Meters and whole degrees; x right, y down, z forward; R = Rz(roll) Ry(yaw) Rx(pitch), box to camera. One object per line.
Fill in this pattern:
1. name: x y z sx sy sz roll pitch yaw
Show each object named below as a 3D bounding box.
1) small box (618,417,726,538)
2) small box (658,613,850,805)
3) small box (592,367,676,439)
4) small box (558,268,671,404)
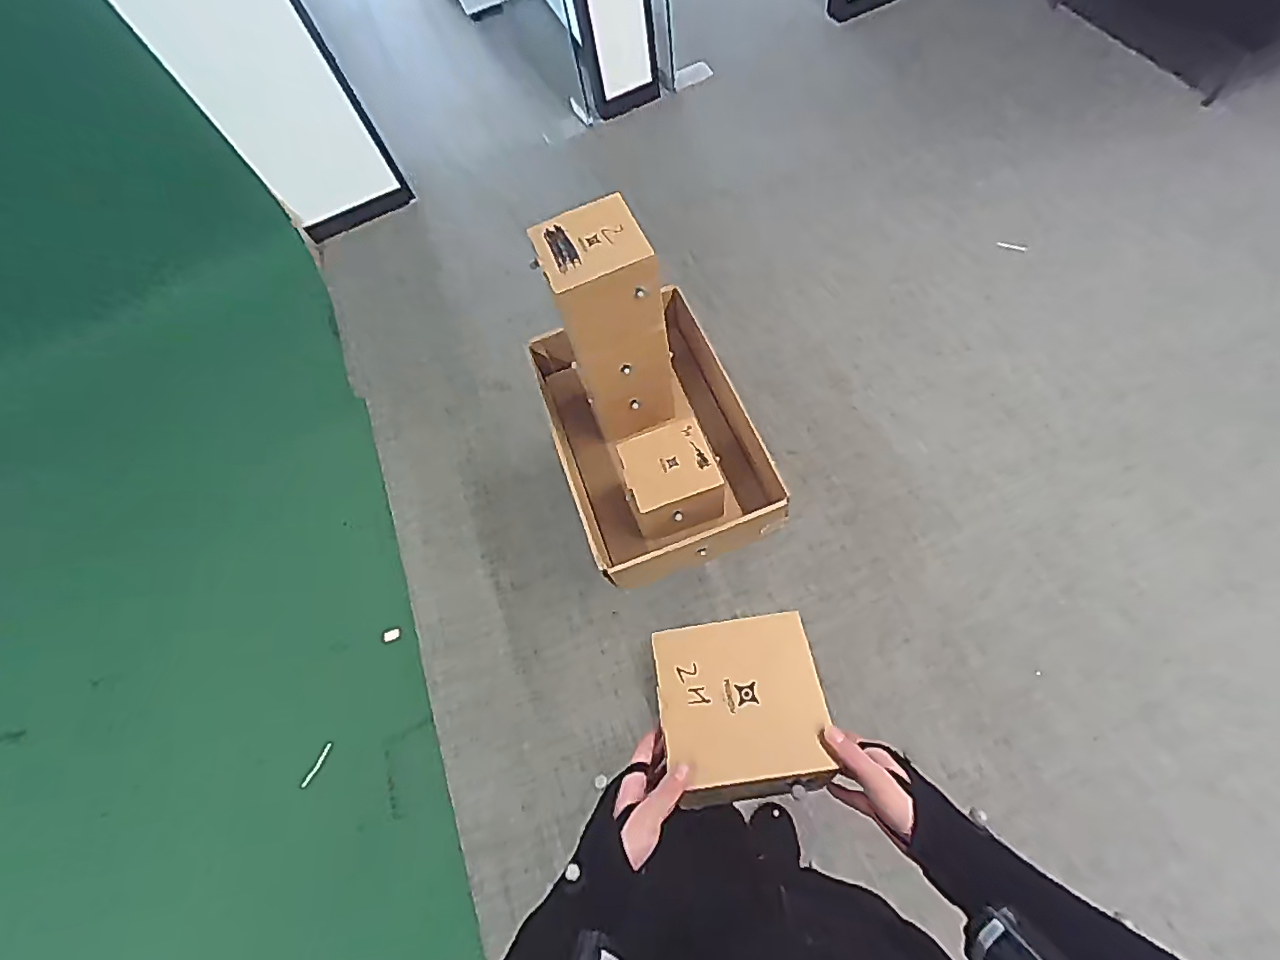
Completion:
1. small box: 0.072 0.003 1.130 0.179 0.176 0.168 -20 64 0
2. small box: 0.122 0.275 0.639 0.179 0.176 0.168 -9 53 3
3. small box: -0.022 -0.223 1.249 0.179 0.176 0.168 -22 65 -1
4. small box: -0.044 -0.285 1.099 0.179 0.176 0.168 -23 65 -1
